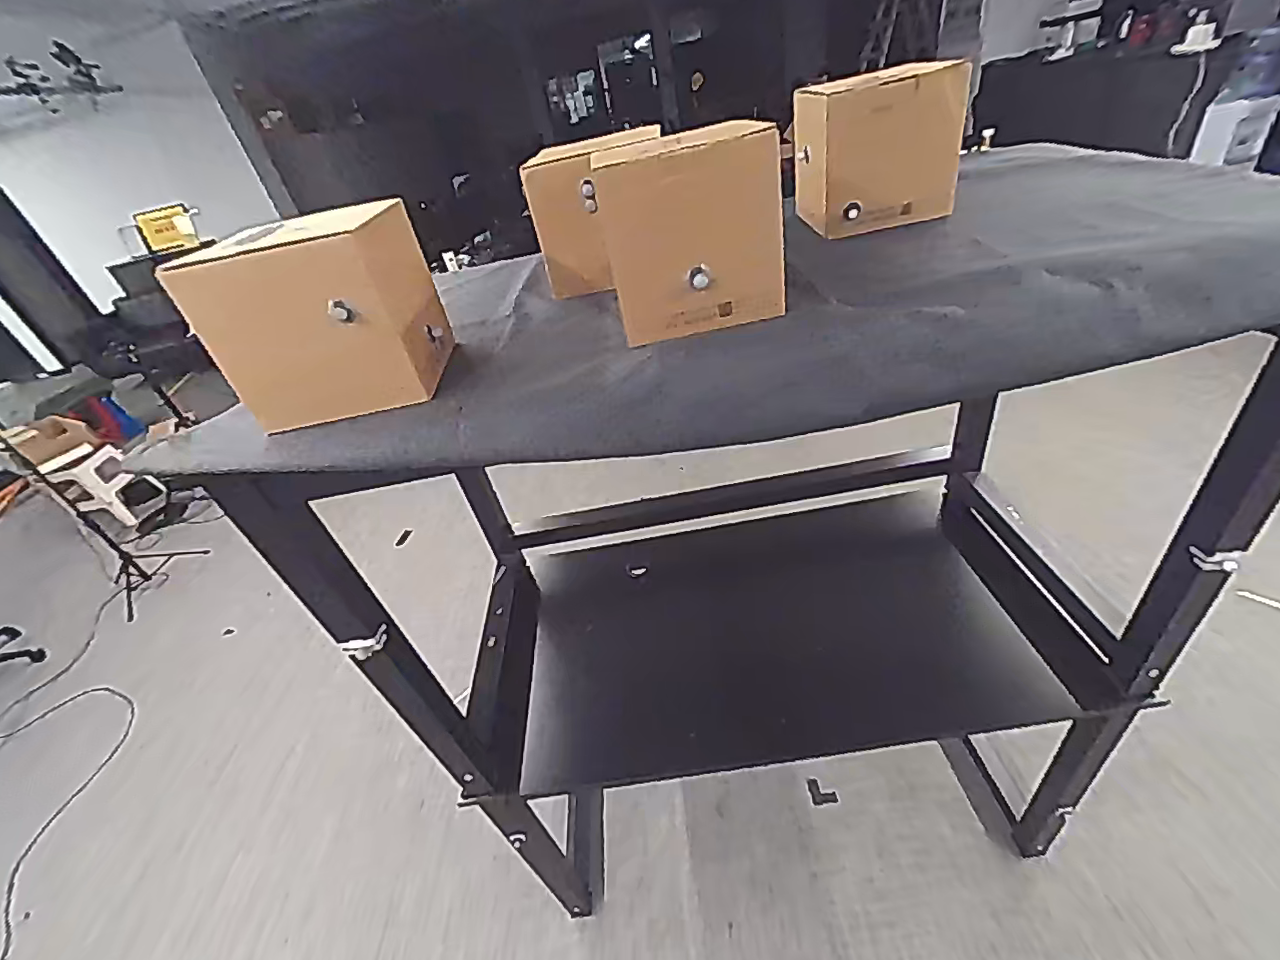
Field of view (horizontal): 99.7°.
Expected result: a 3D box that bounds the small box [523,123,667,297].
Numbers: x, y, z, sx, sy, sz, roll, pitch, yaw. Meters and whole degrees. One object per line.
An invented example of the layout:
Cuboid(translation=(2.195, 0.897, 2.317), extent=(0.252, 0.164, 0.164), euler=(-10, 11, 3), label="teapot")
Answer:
Cuboid(translation=(-0.040, -0.373, 0.752), extent=(0.179, 0.176, 0.168), euler=(-7, 37, 8), label="small box")

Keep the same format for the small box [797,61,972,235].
Cuboid(translation=(0.319, -0.449, 0.741), extent=(0.168, 0.176, 0.179), euler=(-8, 36, 6), label="small box")

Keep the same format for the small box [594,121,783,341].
Cuboid(translation=(0.049, -0.267, 0.578), extent=(0.168, 0.176, 0.179), euler=(-11, 36, 3), label="small box")
